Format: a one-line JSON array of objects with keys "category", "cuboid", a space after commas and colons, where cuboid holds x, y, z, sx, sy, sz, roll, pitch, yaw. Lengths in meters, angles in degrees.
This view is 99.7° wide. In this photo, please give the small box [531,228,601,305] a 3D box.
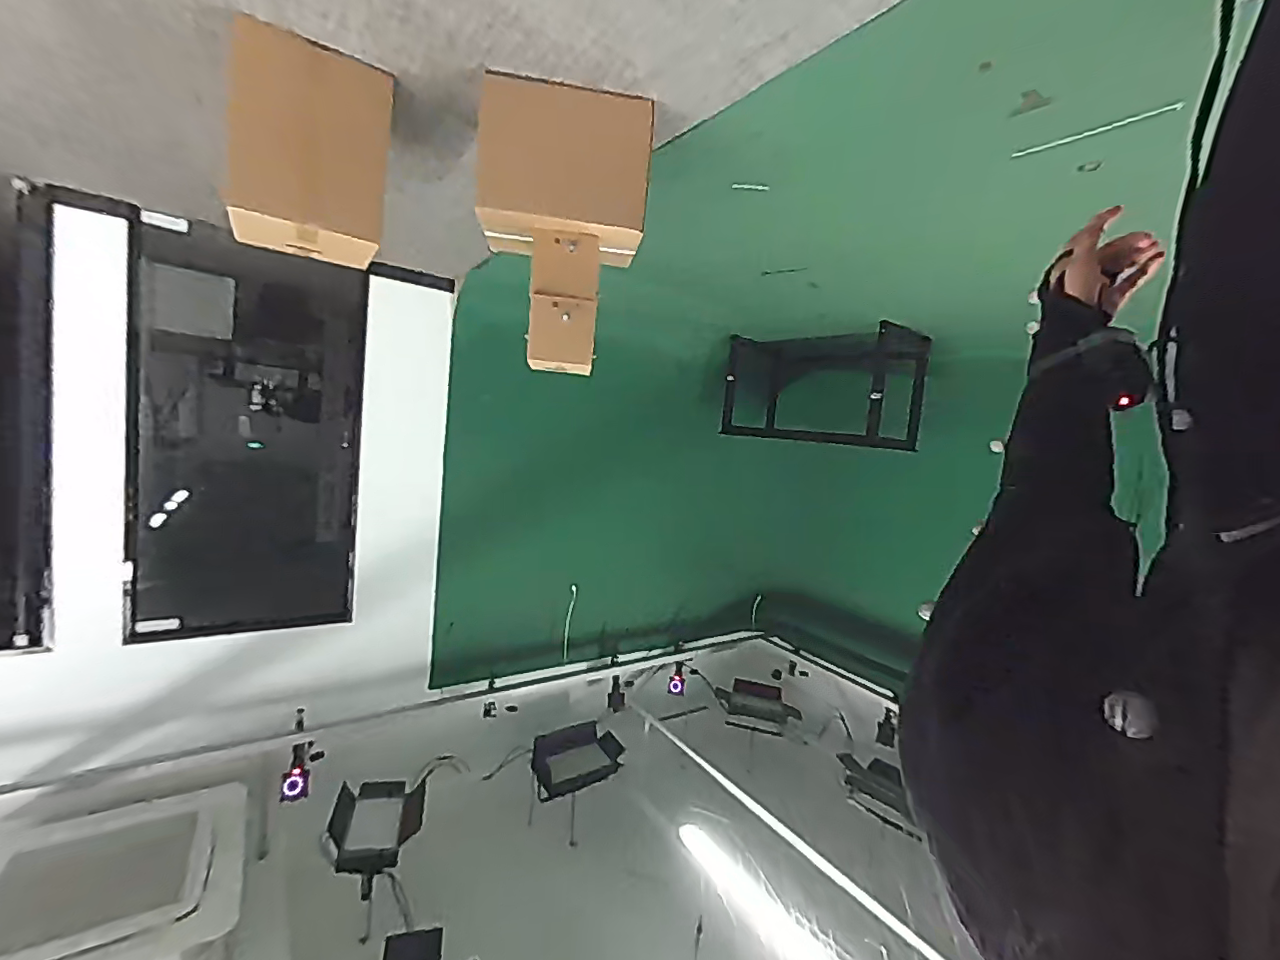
[{"category": "small box", "cuboid": [-0.193, -0.551, 1.448, 0.168, 0.176, 0.179, 4, -176, -3]}]

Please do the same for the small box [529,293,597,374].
[{"category": "small box", "cuboid": [-0.205, -0.387, 1.448, 0.168, 0.176, 0.179, 4, -176, -8]}]
